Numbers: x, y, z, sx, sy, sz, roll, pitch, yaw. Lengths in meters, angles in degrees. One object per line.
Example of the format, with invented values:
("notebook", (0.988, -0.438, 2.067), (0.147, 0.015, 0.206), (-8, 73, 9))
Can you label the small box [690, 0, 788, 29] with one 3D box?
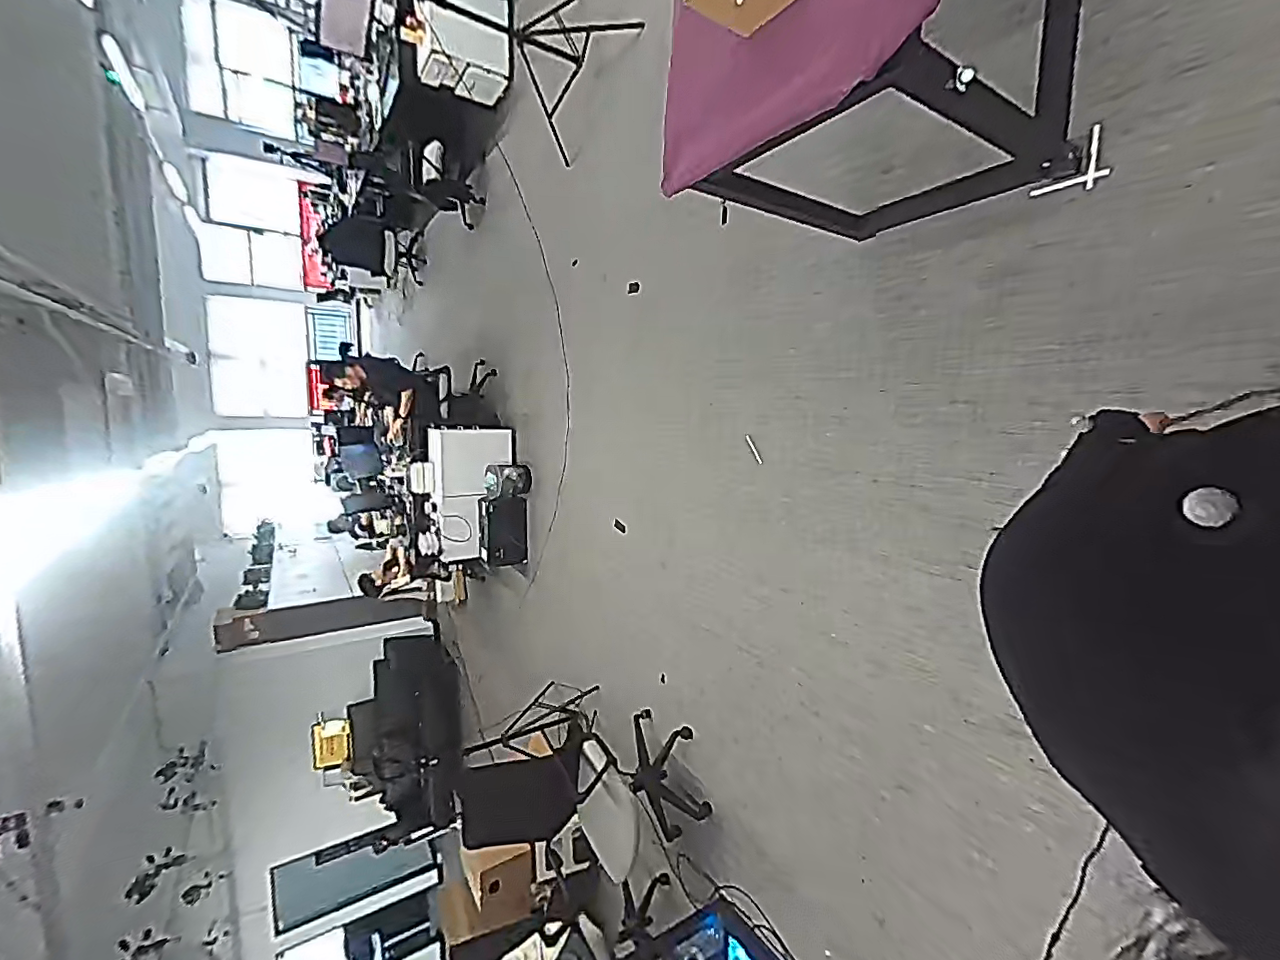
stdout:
("small box", (0.200, -0.972, 0.970), (0.179, 0.176, 0.168), (13, 103, 56))
